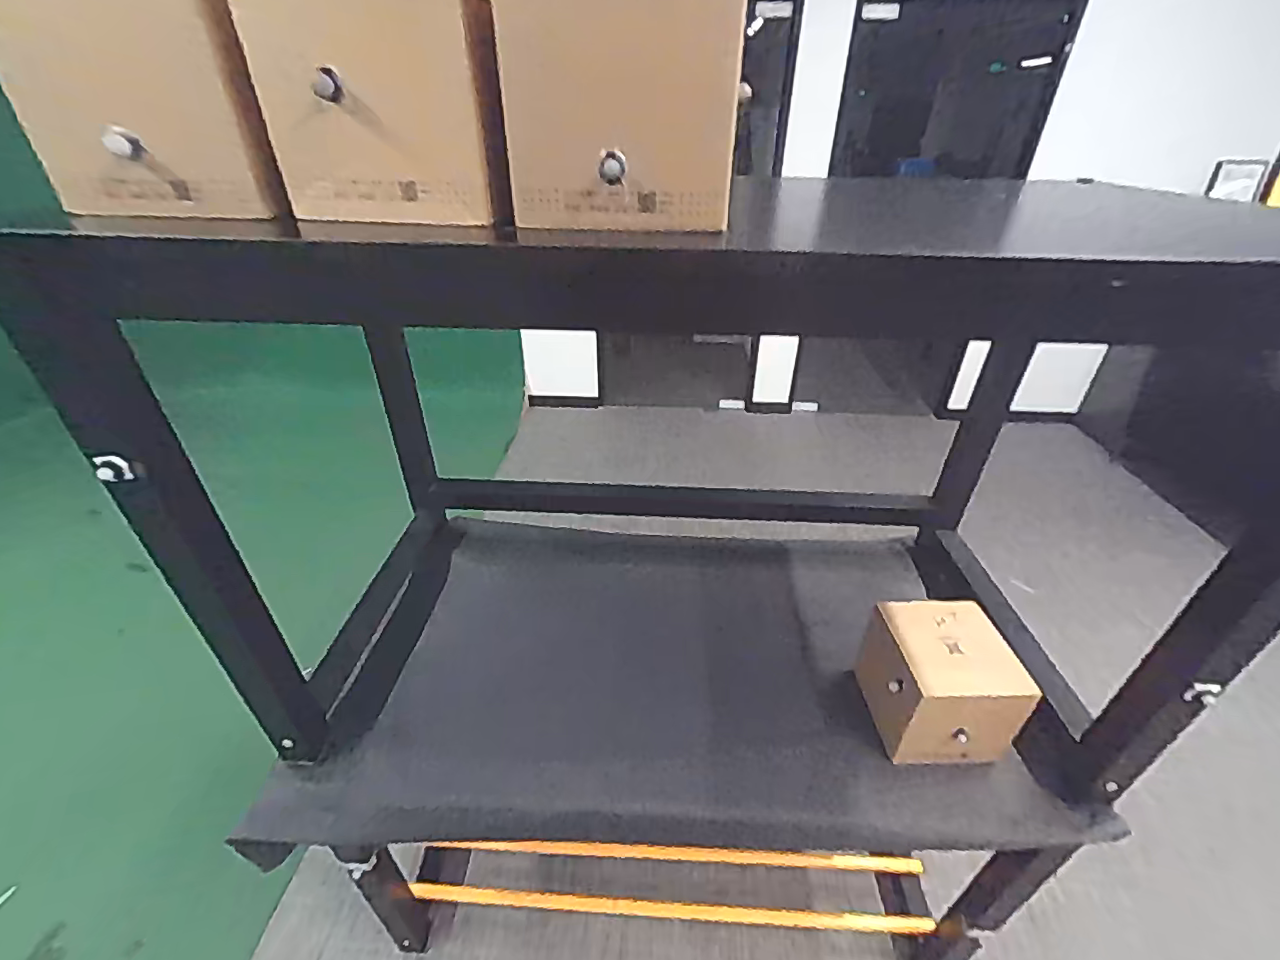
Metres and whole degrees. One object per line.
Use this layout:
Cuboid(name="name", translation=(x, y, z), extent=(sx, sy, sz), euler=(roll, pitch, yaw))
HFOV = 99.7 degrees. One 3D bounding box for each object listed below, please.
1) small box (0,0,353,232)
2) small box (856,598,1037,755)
Cuboid(name="small box", translation=(-0.378, -0.324, 0.470), extent=(0.168, 0.176, 0.179), euler=(2, 35, 1))
Cuboid(name="small box", translation=(0.461, 0.308, 0.847), extent=(0.168, 0.176, 0.179), euler=(0, 33, -1))
